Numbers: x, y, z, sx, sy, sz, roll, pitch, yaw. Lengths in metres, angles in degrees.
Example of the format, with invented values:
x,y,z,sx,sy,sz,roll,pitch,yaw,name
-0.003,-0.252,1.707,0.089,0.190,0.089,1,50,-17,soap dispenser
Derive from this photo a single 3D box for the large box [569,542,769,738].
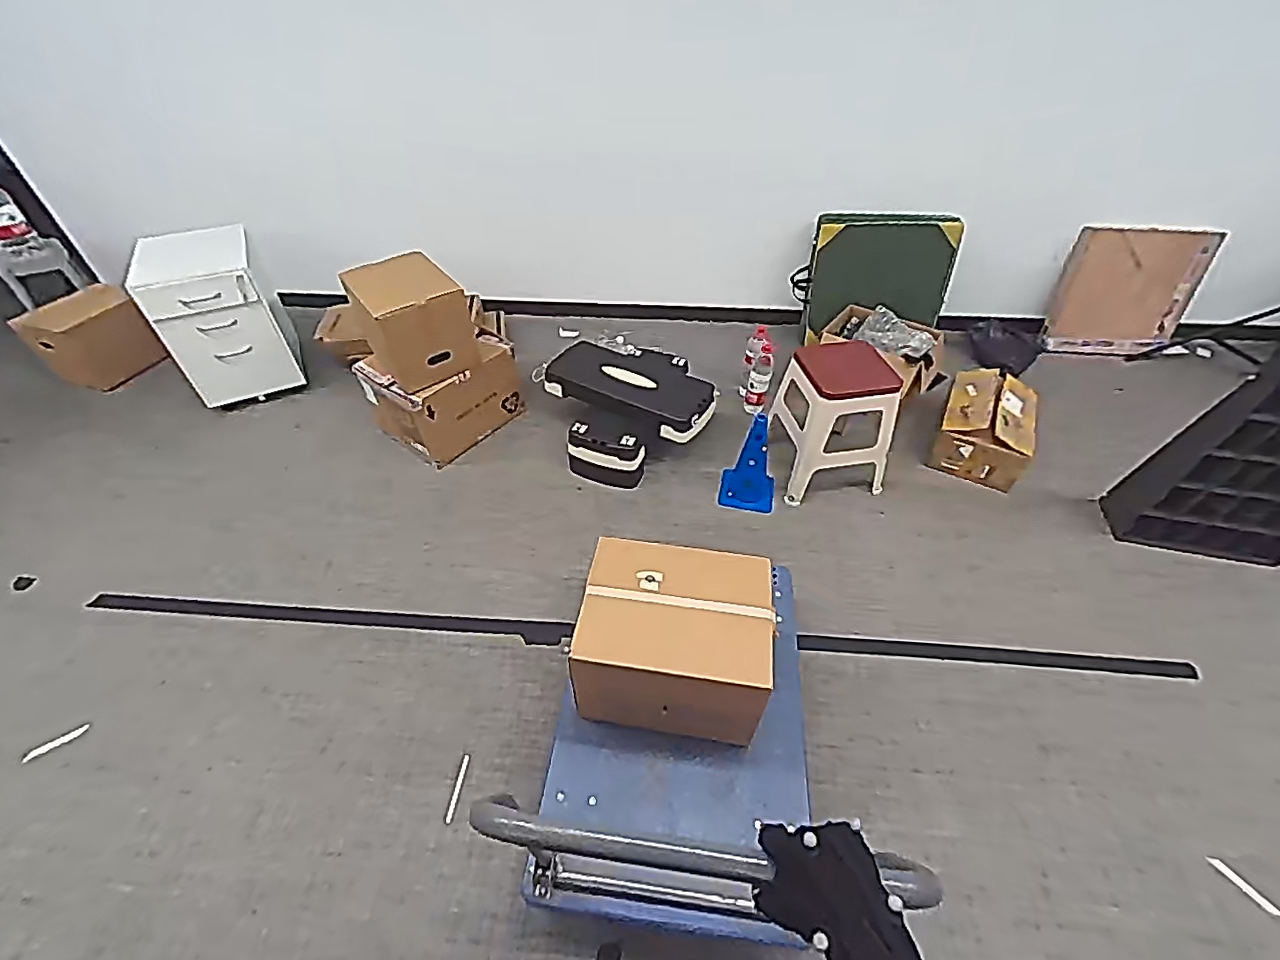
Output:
x,y,z,sx,sy,sz,roll,pitch,yaw,name
0.078,0.376,1.269,0.408,0.320,0.320,6,45,7,large box
